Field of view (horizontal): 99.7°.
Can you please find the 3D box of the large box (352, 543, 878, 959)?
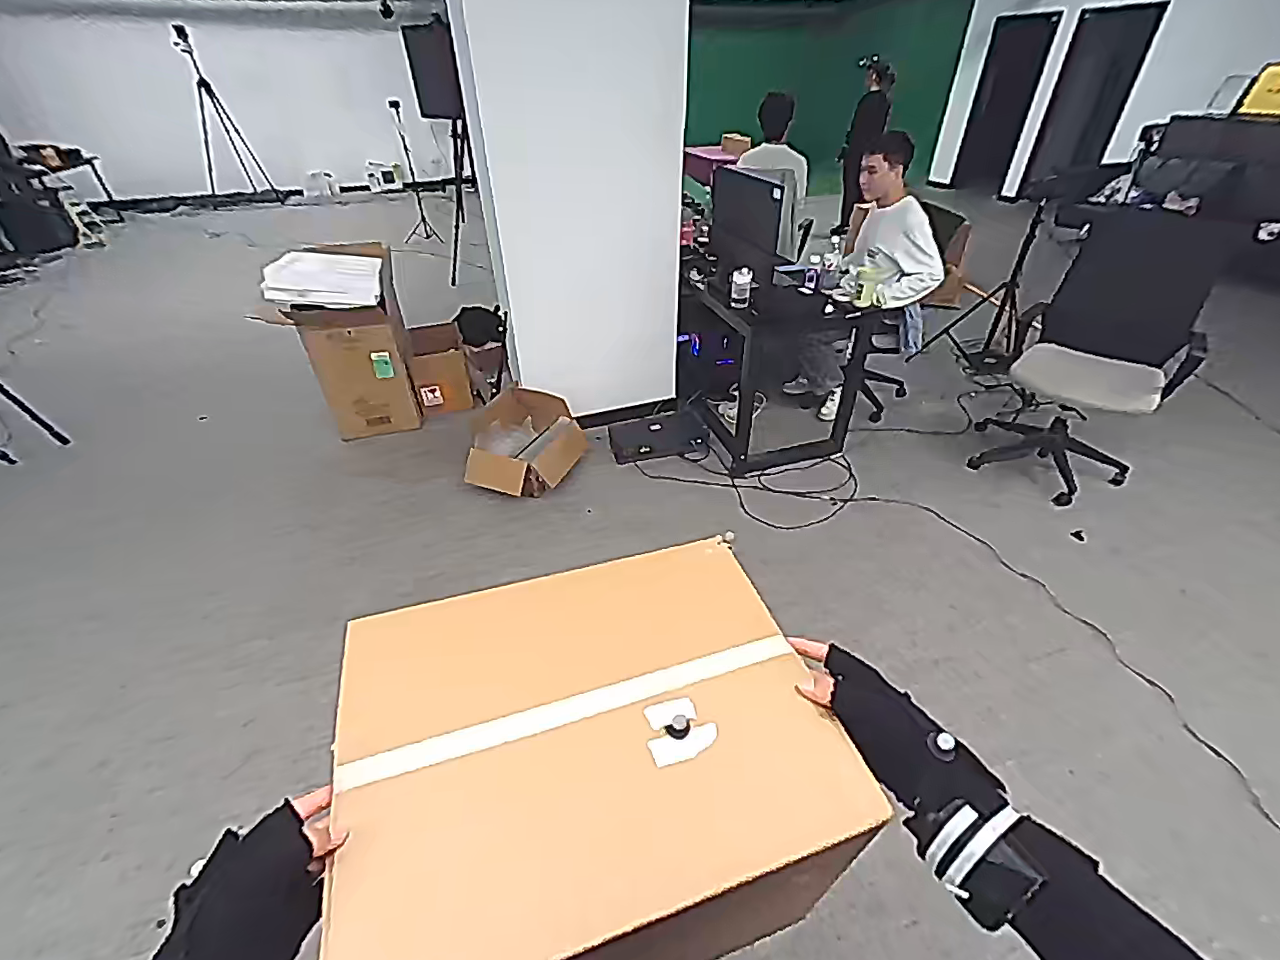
[{"bbox_3d":[-0.046,0.320,0.581,0.408,0.320,0.320,-11,42,-16],"label":"large box"}]
